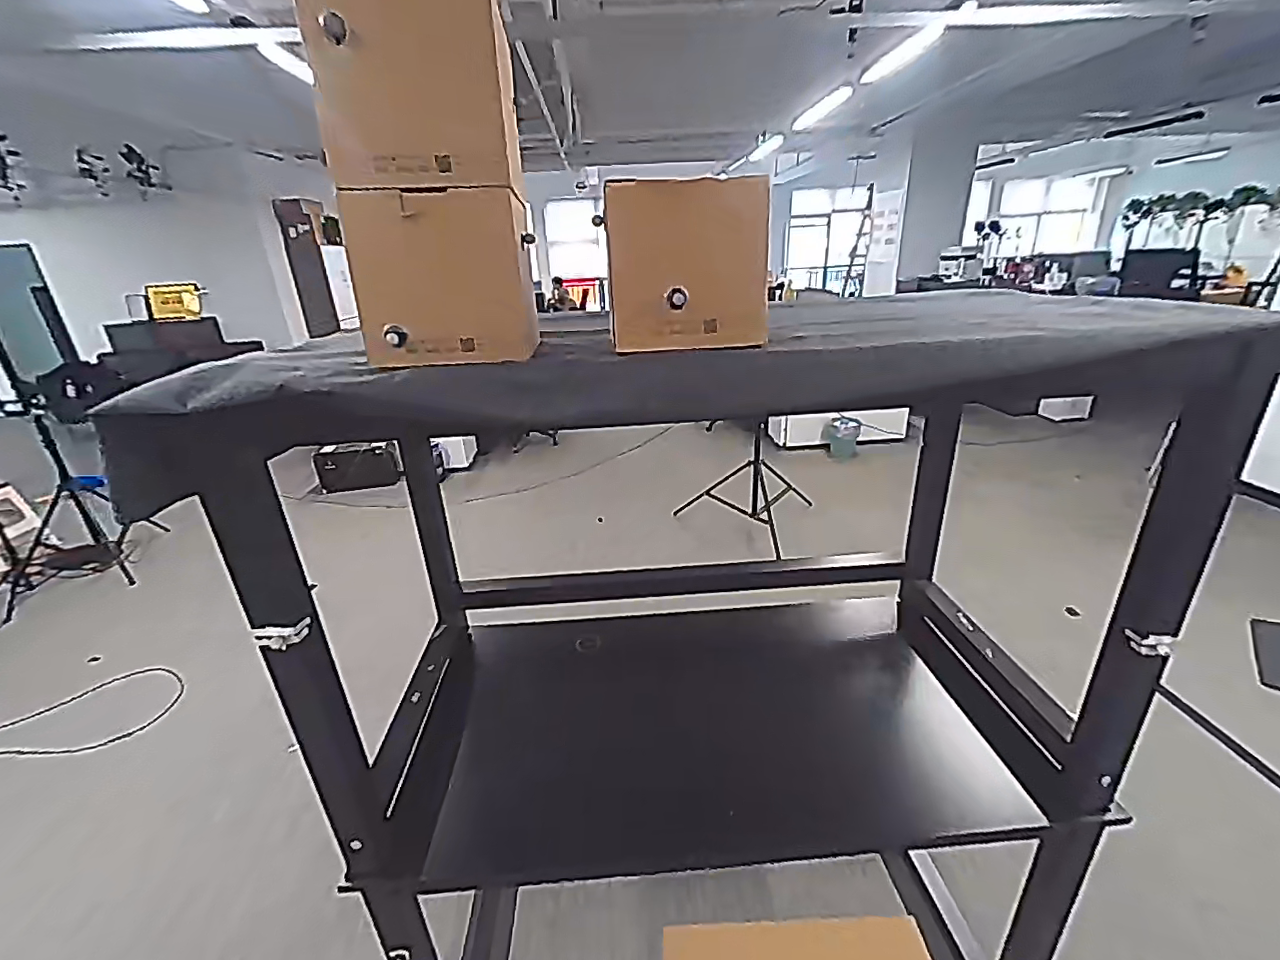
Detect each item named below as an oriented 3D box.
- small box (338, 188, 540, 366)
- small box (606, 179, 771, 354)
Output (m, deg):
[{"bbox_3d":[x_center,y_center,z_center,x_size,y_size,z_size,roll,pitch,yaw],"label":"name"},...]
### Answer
[{"bbox_3d":[-0.208,-0.224,0.618,0.168,0.176,0.179,-4,20,-5],"label":"small box"},{"bbox_3d":[0.047,-0.242,0.633,0.168,0.176,0.179,-4,21,-2],"label":"small box"}]
